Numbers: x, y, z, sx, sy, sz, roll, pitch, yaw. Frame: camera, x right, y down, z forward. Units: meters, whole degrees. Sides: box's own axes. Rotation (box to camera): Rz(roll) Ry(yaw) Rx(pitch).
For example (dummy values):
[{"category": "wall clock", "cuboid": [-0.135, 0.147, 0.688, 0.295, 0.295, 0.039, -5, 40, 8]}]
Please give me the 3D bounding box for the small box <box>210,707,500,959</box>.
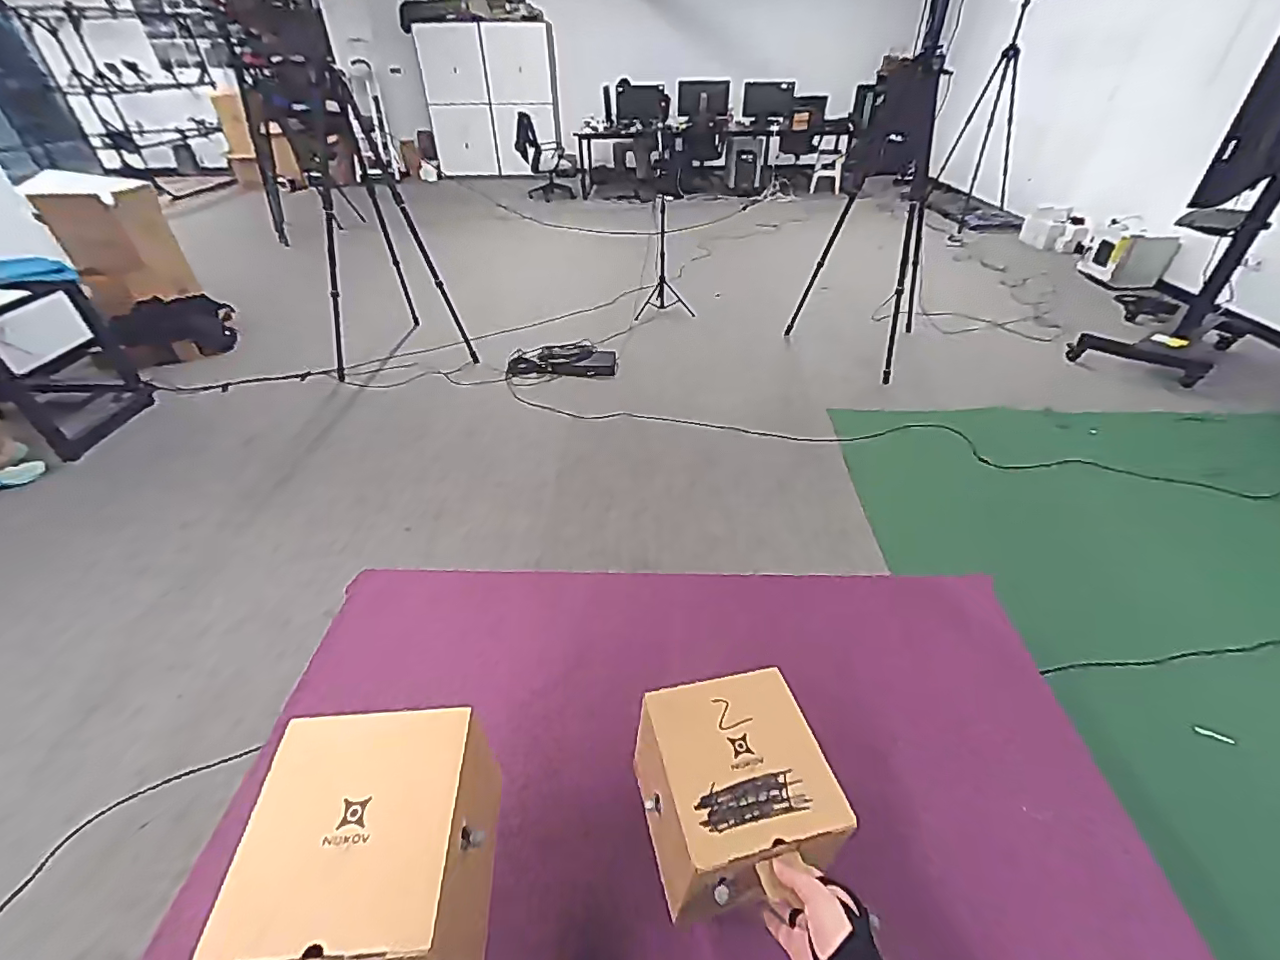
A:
[{"category": "small box", "cuboid": [-0.233, 0.336, 0.504, 0.168, 0.176, 0.179, -2, 44, -2]}]
